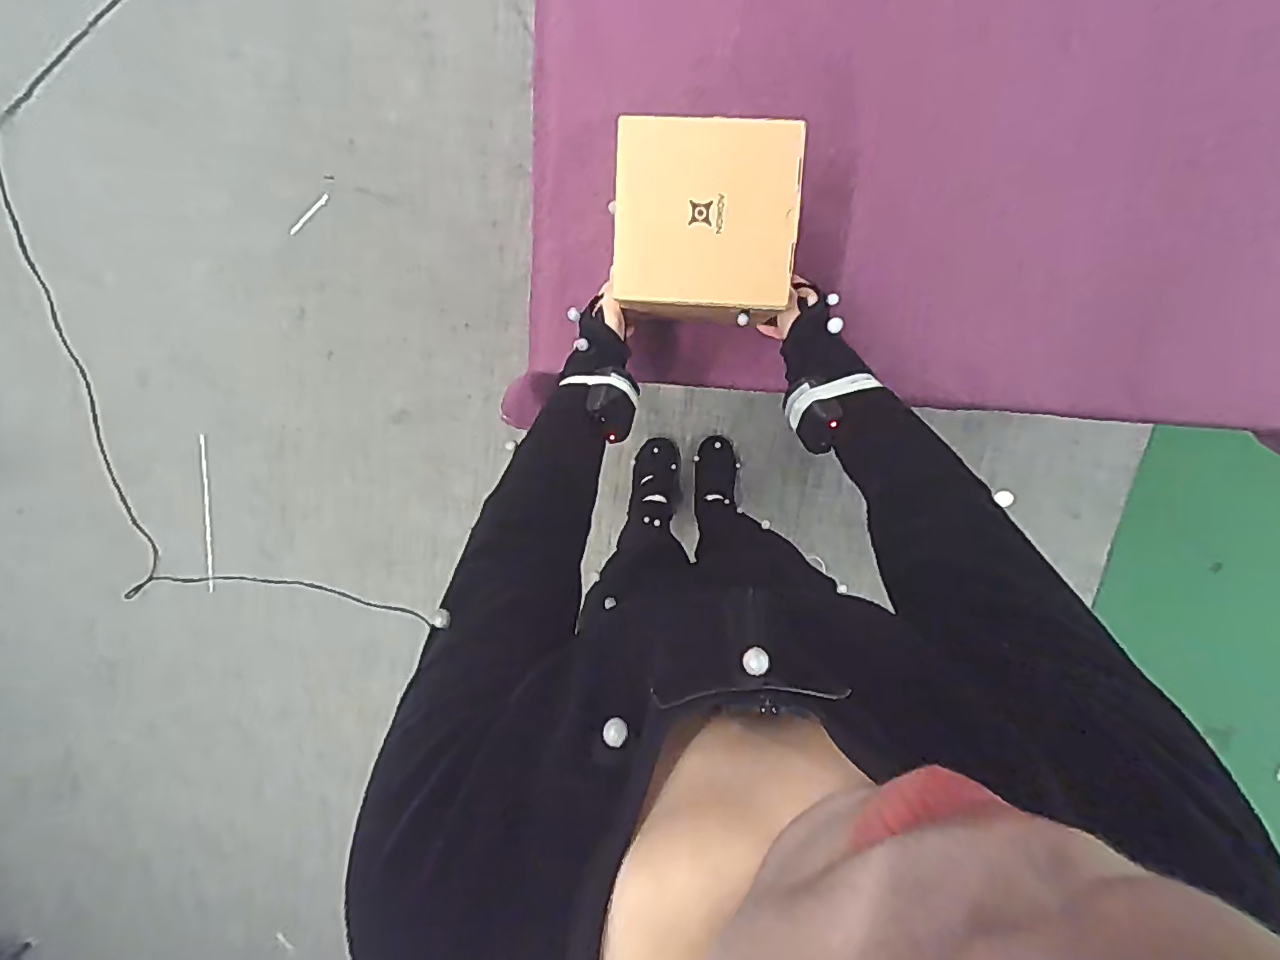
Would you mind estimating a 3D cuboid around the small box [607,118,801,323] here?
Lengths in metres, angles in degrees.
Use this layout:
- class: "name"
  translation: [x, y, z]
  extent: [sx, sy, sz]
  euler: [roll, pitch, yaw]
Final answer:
- class: "small box"
  translation: [0.064, -0.267, 0.594]
  extent: [0.179, 0.176, 0.168]
  euler: [3, 101, 3]
